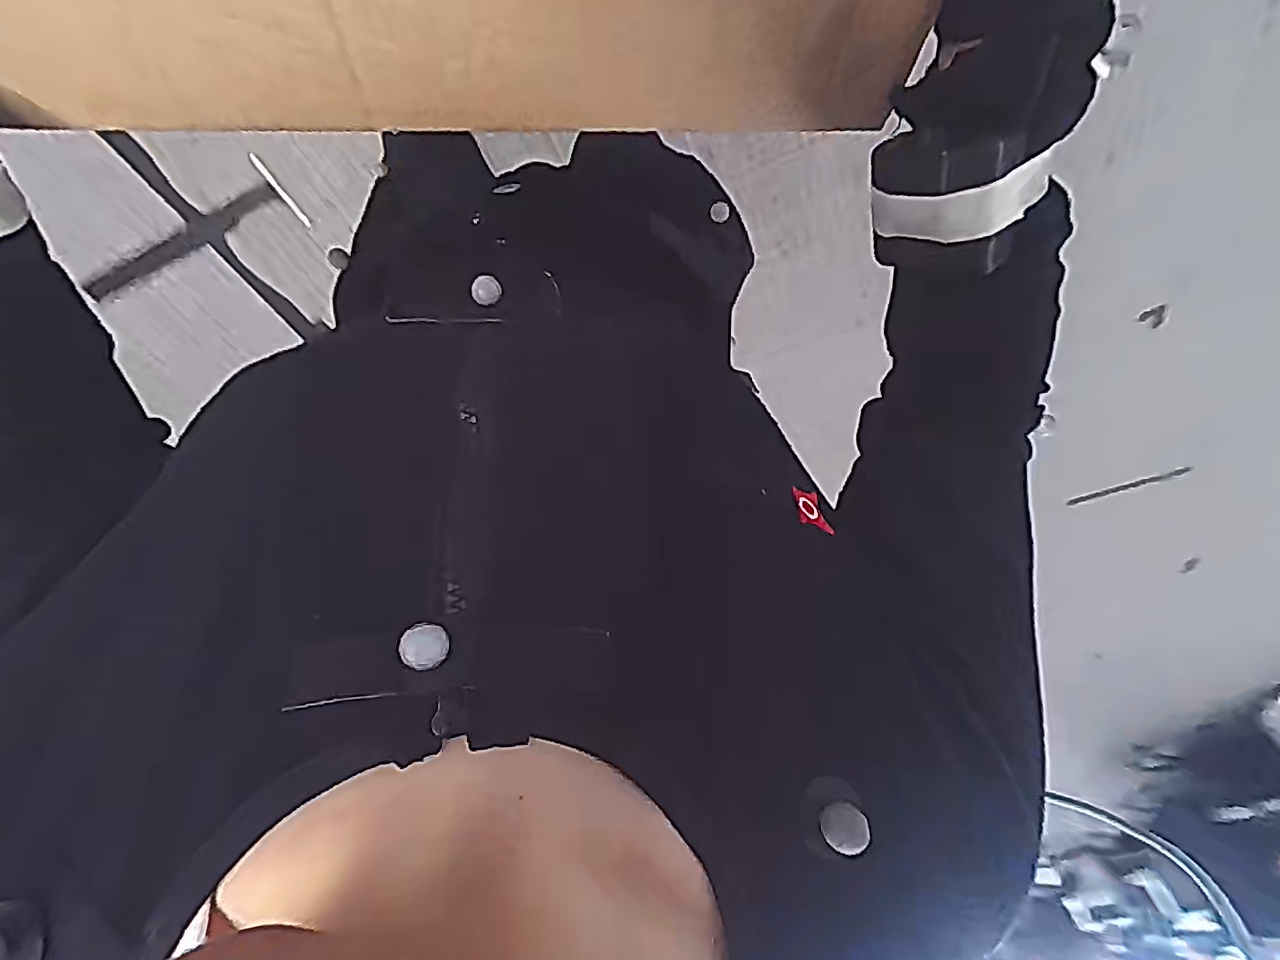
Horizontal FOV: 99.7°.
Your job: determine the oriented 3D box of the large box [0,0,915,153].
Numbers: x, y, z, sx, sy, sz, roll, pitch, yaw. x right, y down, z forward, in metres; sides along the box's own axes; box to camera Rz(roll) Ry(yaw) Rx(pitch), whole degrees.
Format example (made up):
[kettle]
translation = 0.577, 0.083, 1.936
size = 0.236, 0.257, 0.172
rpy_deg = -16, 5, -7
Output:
[large box]
translation = -0.090, -0.363, 0.177
size = 0.408, 0.320, 0.320
rpy_deg = -5, 157, -5
